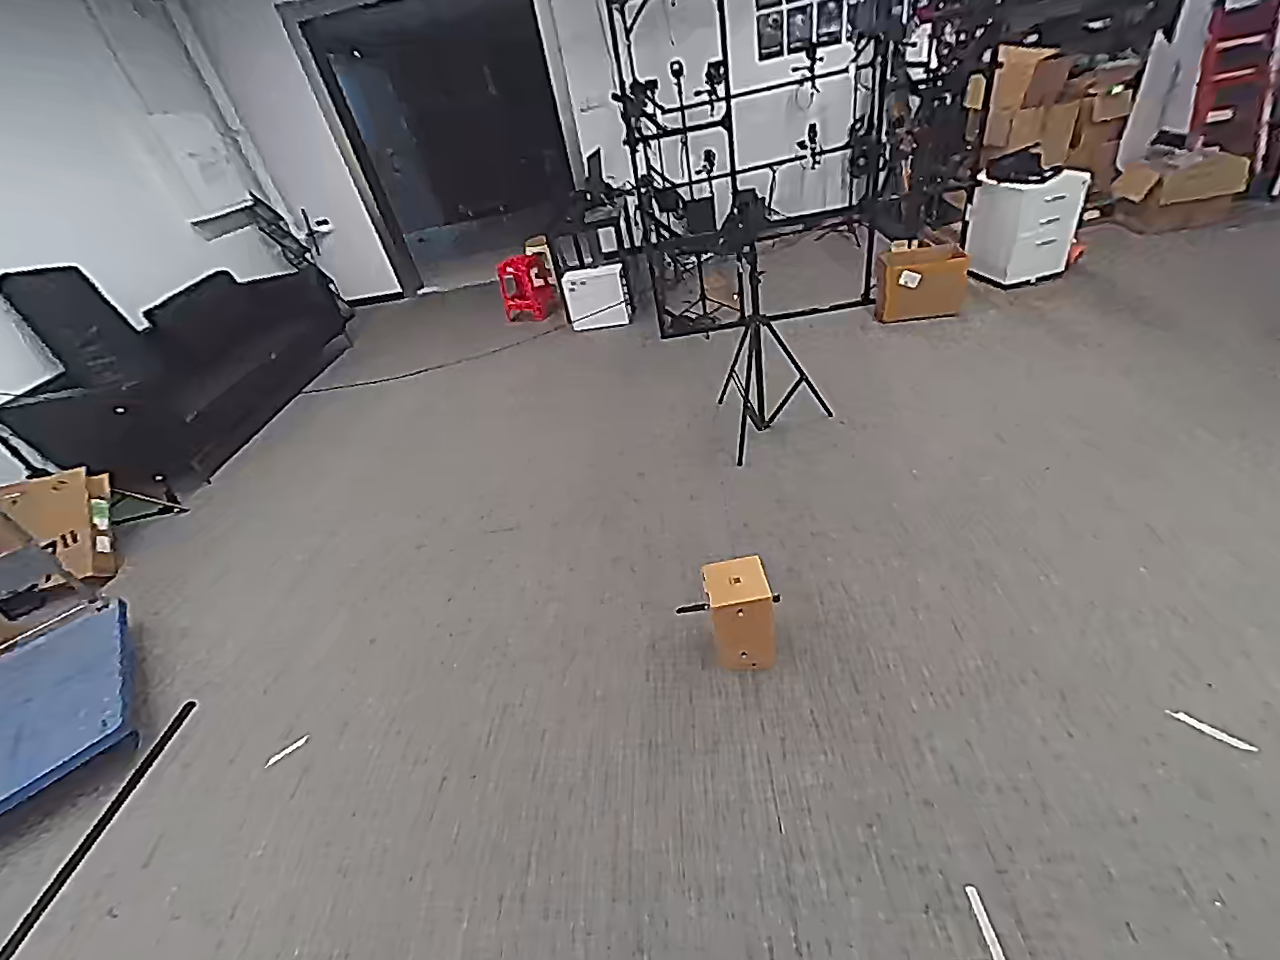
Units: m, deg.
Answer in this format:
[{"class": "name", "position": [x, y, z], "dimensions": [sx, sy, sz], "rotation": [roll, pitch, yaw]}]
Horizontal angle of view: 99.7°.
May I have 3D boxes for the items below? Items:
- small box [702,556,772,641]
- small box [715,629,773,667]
[{"class": "small box", "position": [0.290, 0.354, 1.609], "dimensions": [0.179, 0.176, 0.168], "rotation": [-12, 37, 3]}, {"class": "small box", "position": [0.326, 0.476, 1.713], "dimensions": [0.168, 0.176, 0.179], "rotation": [-6, 36, 9]}]
